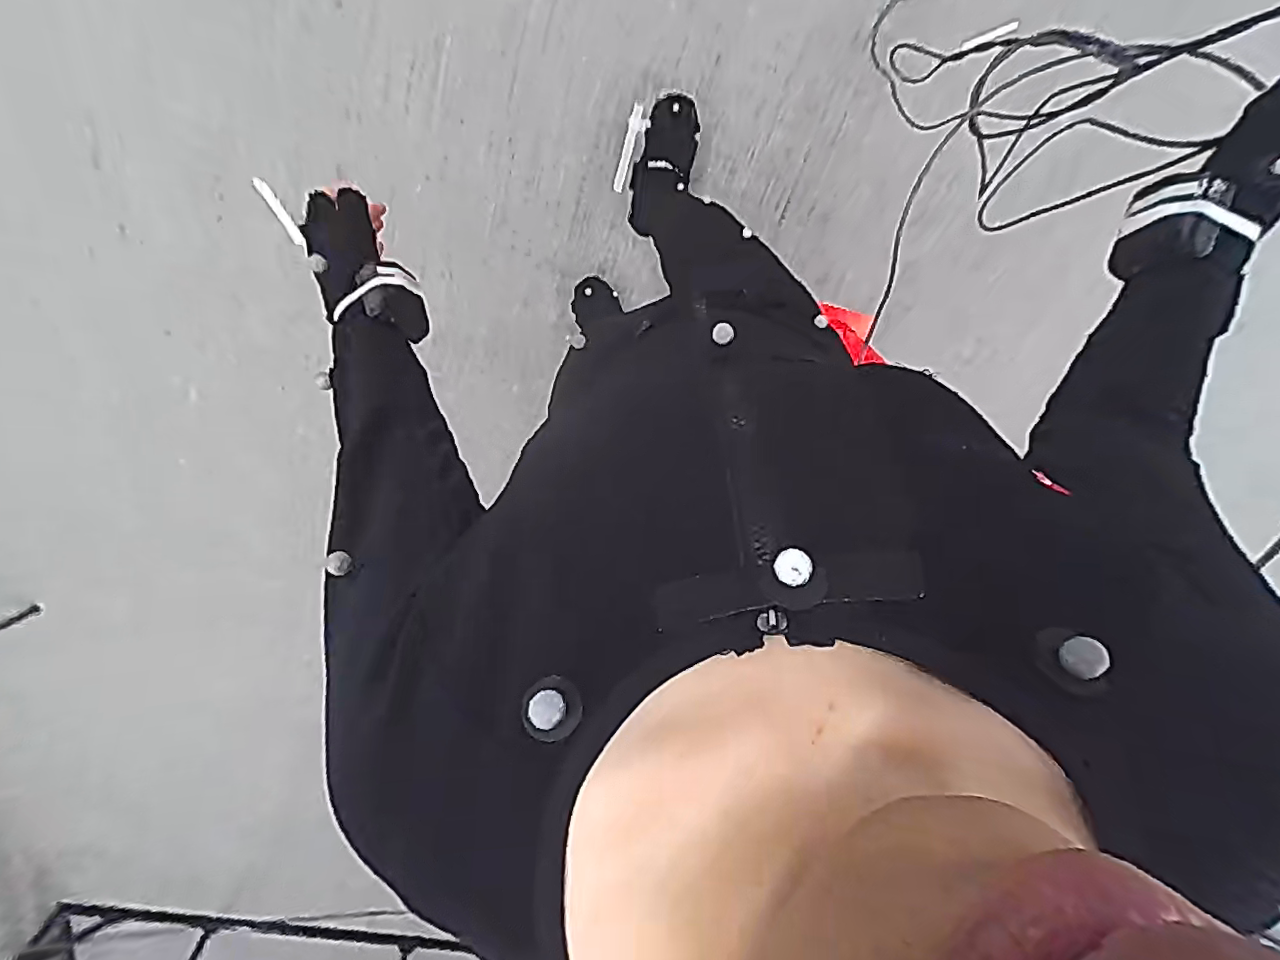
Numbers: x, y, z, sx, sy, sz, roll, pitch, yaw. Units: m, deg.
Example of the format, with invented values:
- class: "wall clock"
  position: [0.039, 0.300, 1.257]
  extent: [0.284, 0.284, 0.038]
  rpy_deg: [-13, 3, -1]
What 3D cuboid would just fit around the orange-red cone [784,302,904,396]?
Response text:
- class: "orange-red cone"
  position: [0.508, -0.269, 1.254]
  extent: [0.199, 0.360, 0.198]
  rpy_deg: [12, 115, -11]
